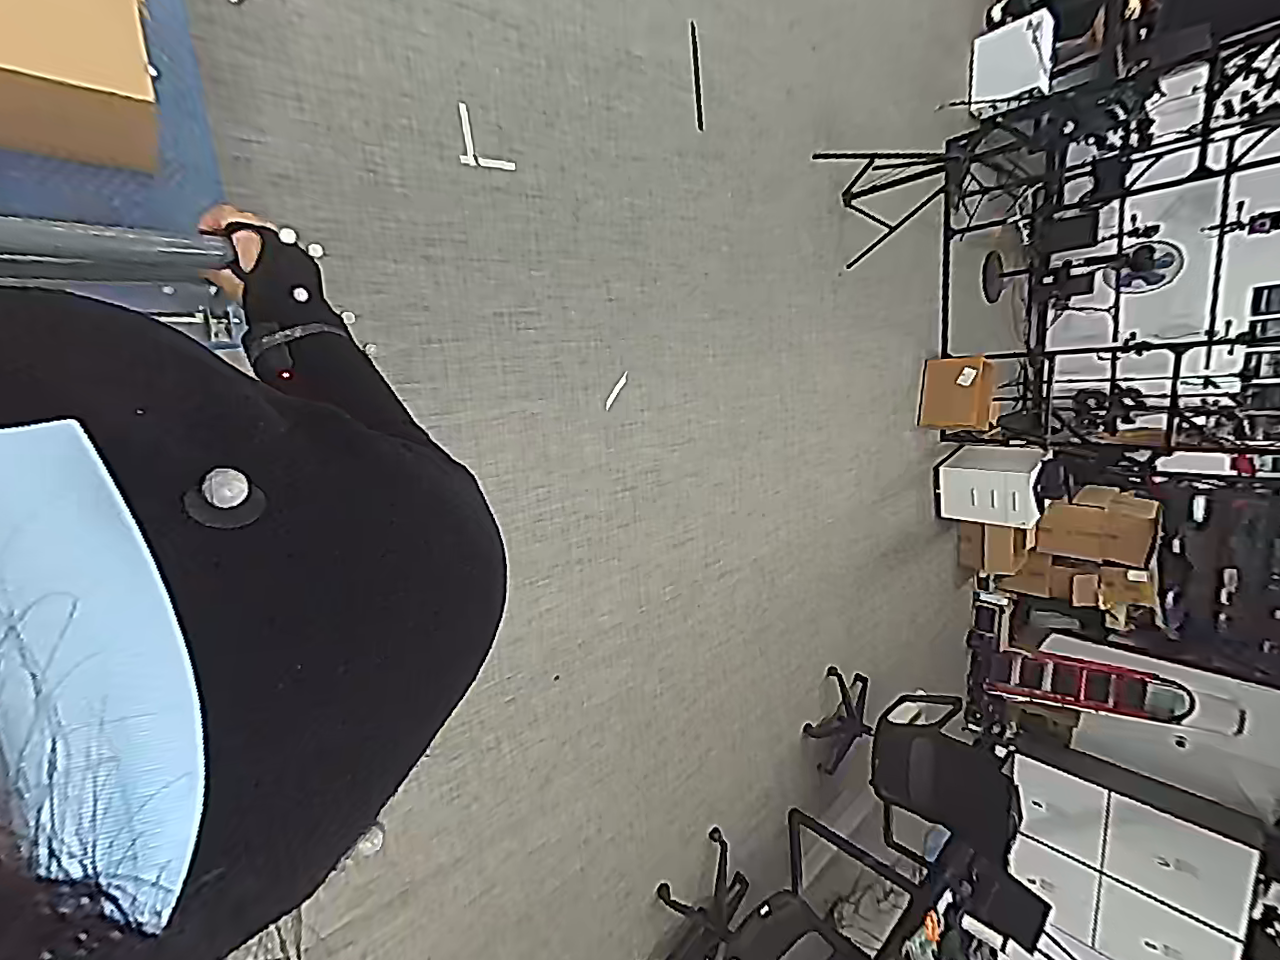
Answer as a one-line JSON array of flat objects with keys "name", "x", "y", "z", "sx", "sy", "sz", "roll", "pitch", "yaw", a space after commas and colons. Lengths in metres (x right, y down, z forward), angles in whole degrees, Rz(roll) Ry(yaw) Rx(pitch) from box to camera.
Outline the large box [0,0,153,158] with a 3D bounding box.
[{"name": "large box", "x": -0.937, "y": -0.673, "z": 0.709, "sx": 0.408, "sy": 0.320, "sz": 0.320, "roll": -11, "pitch": 102, "yaw": -40}]
